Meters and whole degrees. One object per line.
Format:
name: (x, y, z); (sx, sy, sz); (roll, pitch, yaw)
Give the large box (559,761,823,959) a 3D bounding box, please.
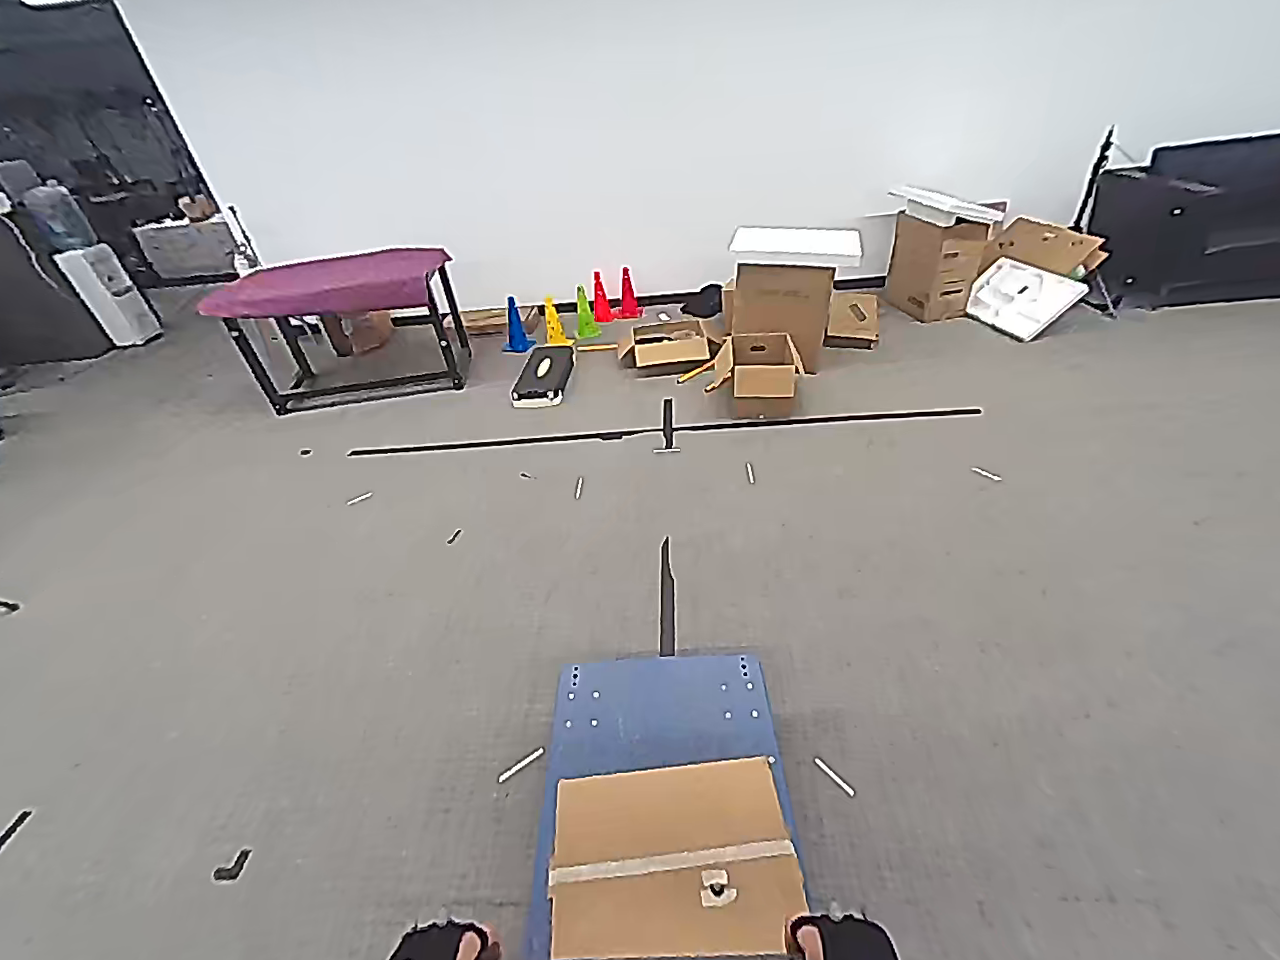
large box: (0.071, 0.771, 0.997); (0.408, 0.320, 0.320); (-6, 37, -2)
